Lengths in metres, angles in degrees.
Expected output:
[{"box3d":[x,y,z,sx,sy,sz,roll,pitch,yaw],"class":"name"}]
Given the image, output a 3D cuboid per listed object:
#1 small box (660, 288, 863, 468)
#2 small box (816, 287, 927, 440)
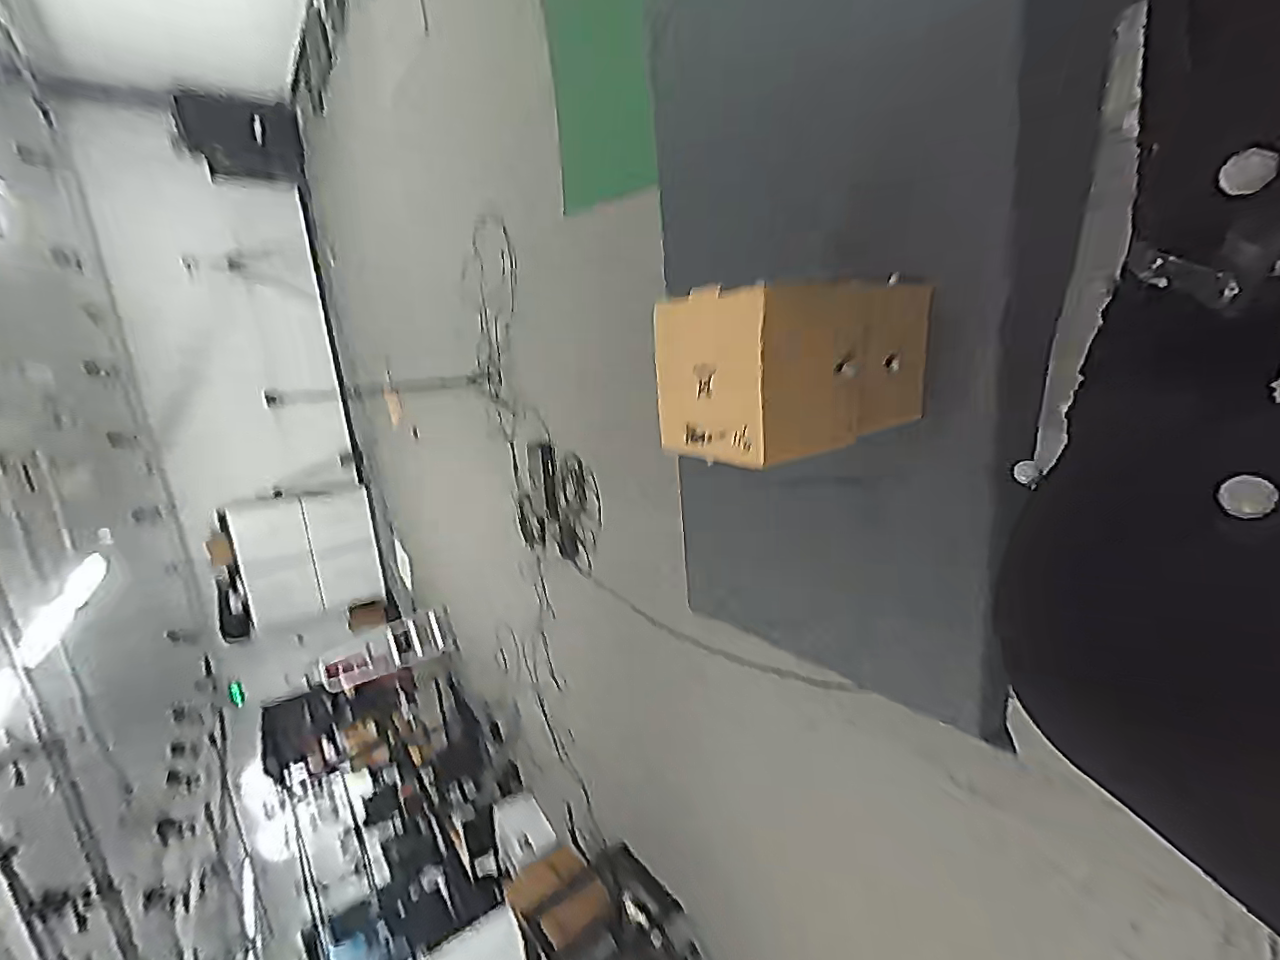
[{"box3d":[0.141,-0.123,0.635,0.168,0.176,0.179,15,113,52],"class":"small box"},{"box3d":[0.266,-0.159,0.733,0.168,0.176,0.179,14,113,52],"class":"small box"}]
